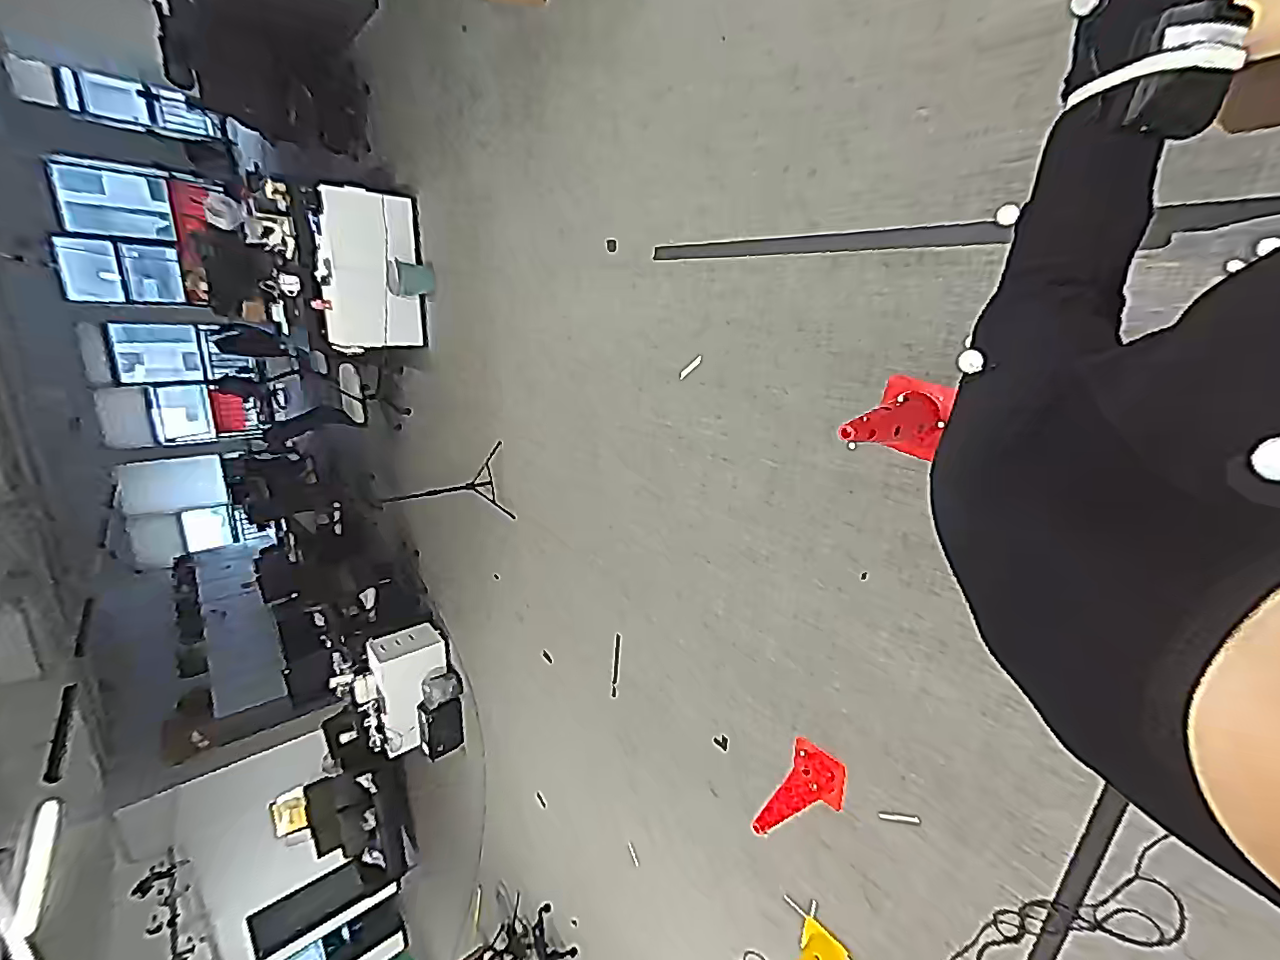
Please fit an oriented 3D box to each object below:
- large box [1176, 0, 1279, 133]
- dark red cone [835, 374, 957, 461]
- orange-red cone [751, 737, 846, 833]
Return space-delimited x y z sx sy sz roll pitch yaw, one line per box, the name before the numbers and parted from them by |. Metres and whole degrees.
large box | 0.602 -0.426 0.277 0.408 0.320 0.320 17 118 47
dark red cone | 0.596 -0.143 1.337 0.201 0.394 0.202 29 121 42
orange-red cone | 0.502 1.065 1.810 0.198 0.360 0.199 20 116 48
